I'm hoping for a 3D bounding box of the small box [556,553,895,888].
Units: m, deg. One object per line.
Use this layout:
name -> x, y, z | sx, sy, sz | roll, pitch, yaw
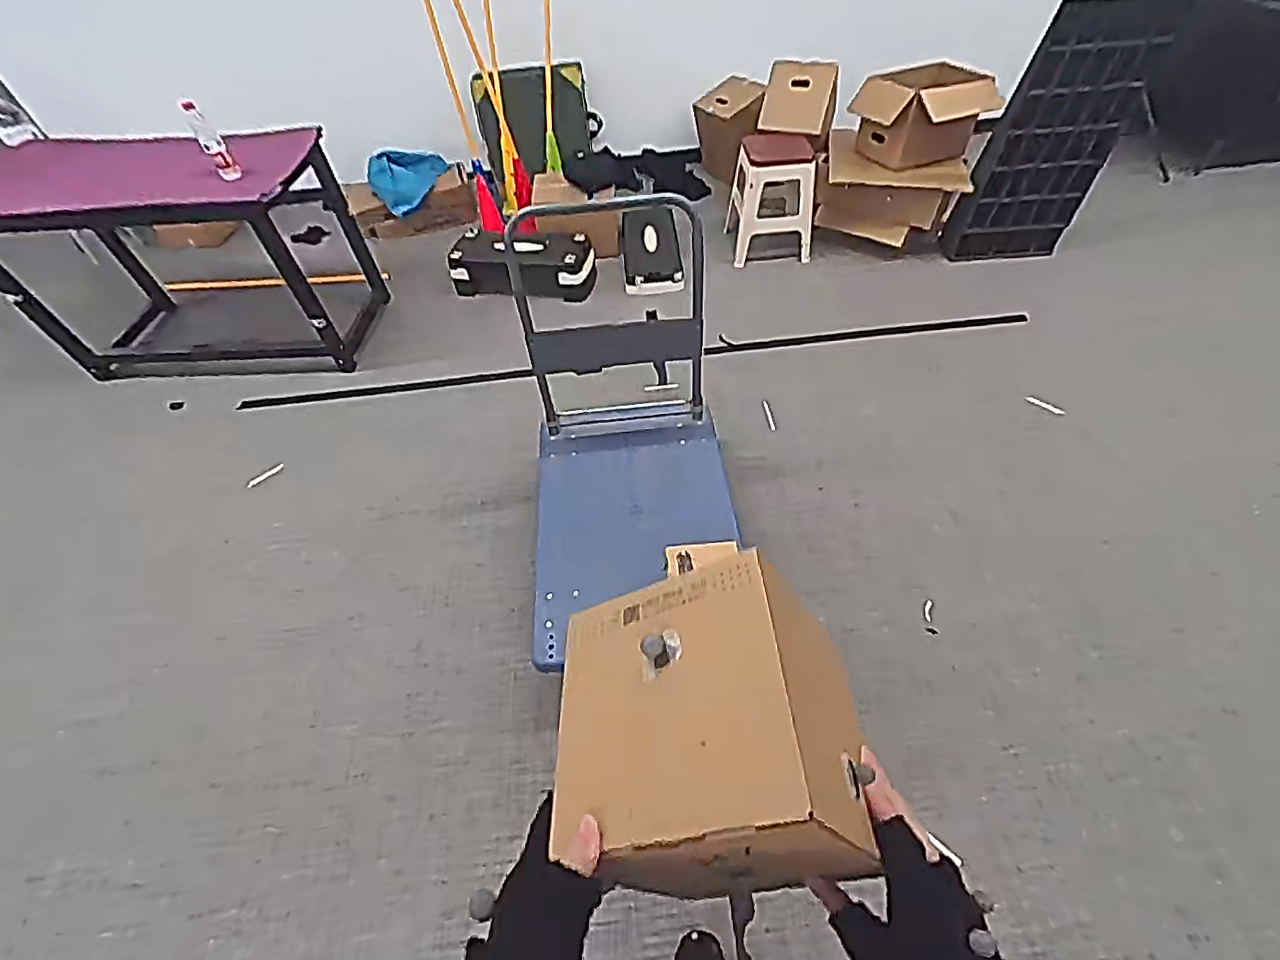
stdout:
small box -> 0.061, 0.183, 0.402 | 0.168, 0.179, 0.176 | -25, 40, 22
